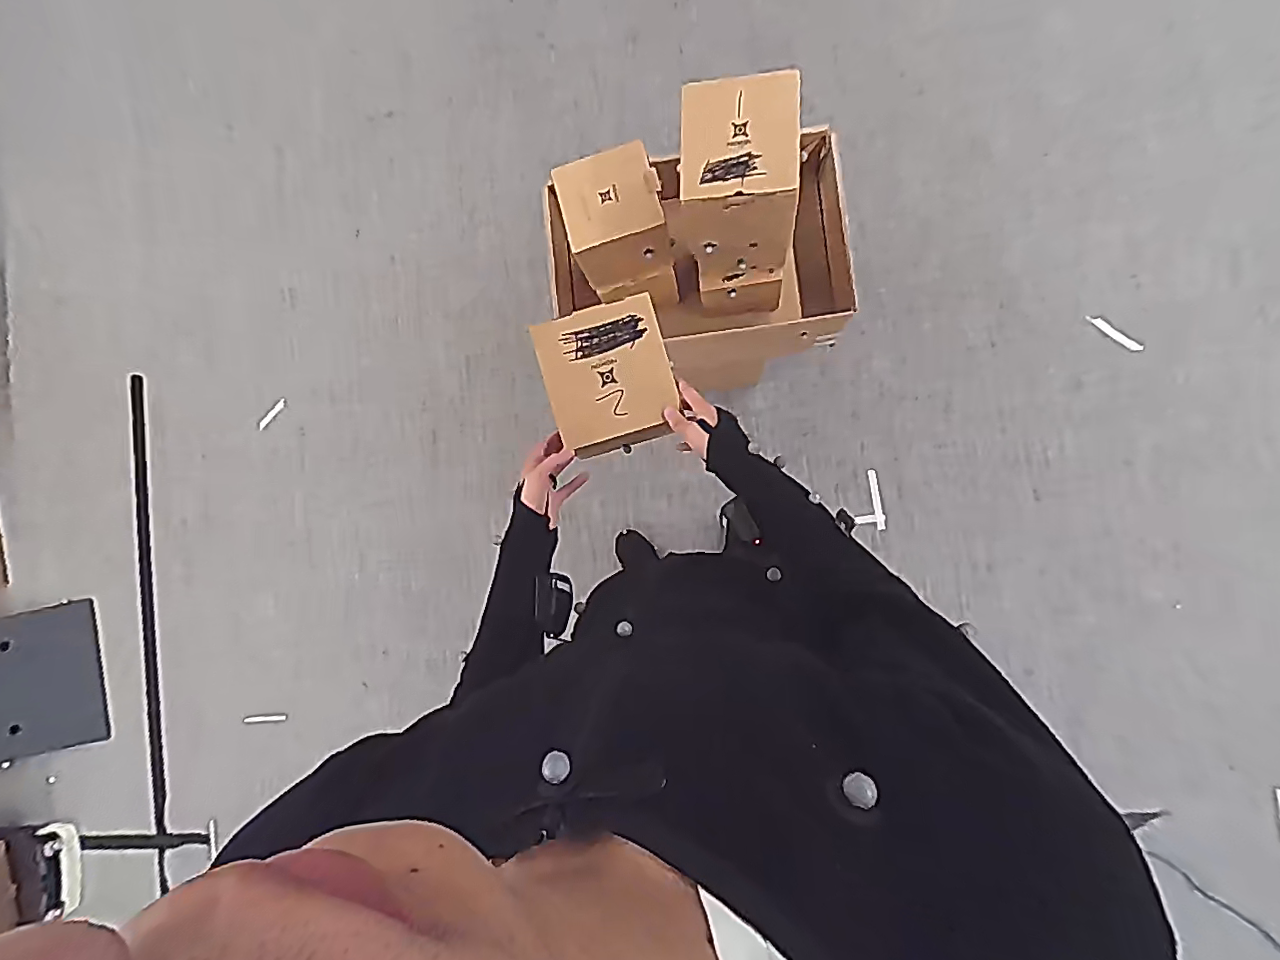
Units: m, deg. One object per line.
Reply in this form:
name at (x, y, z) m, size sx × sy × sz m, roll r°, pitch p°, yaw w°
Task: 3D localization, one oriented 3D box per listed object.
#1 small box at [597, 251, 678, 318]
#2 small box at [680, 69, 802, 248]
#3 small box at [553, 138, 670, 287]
small box at (-0.017, -0.482, 1.185) m, size 0.168 × 0.176 × 0.179 m, roll -14°, pitch 86°, yaw 7°
small box at (0.155, -0.473, 0.827) m, size 0.168 × 0.176 × 0.179 m, roll 1°, pitch 87°, yaw 11°
small box at (-0.044, -0.494, 1.024) m, size 0.179 × 0.176 × 0.168 m, roll -15°, pitch 85°, yaw 6°
